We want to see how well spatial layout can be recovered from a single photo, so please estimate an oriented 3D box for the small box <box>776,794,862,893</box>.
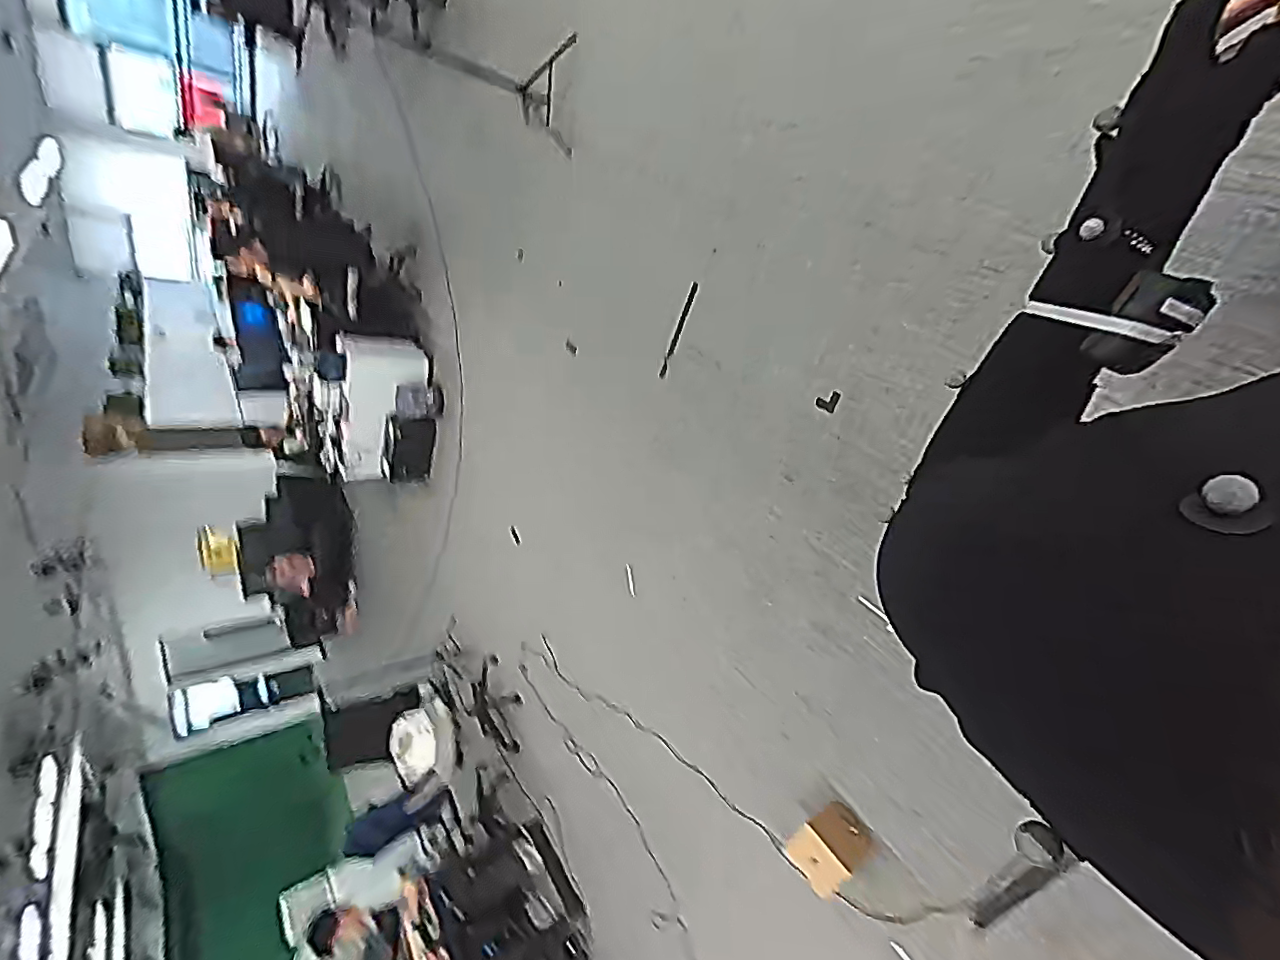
[{"bbox_3d":[0.576,1.159,1.732,0.168,0.176,0.179,44,125,36],"label":"small box"}]
